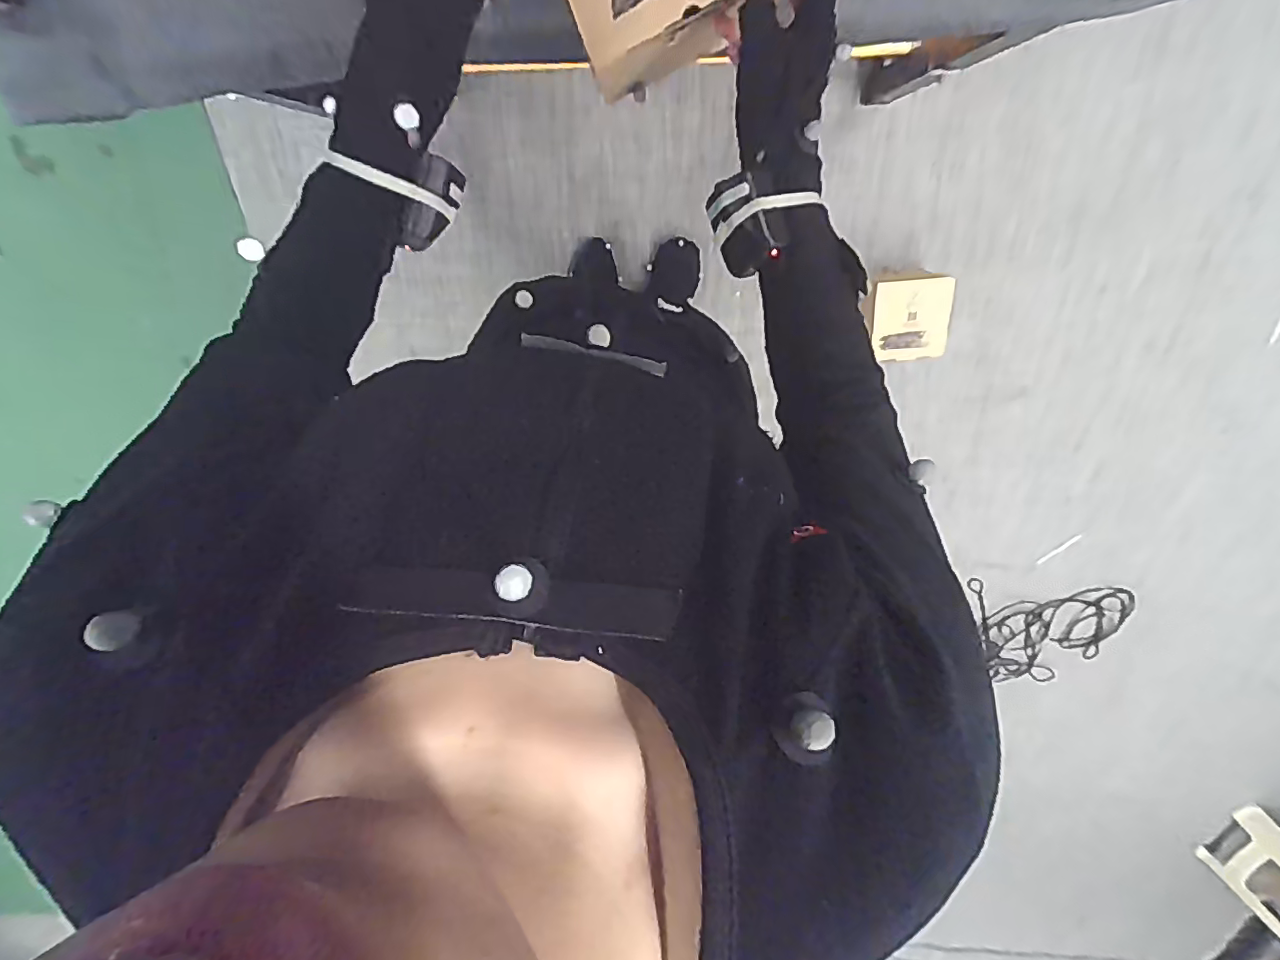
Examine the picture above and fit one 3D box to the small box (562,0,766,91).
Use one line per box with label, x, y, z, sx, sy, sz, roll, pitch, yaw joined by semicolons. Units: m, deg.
small box;0.007;-0.449;0.438;0.168;0.176;0.179;-19;115;11
